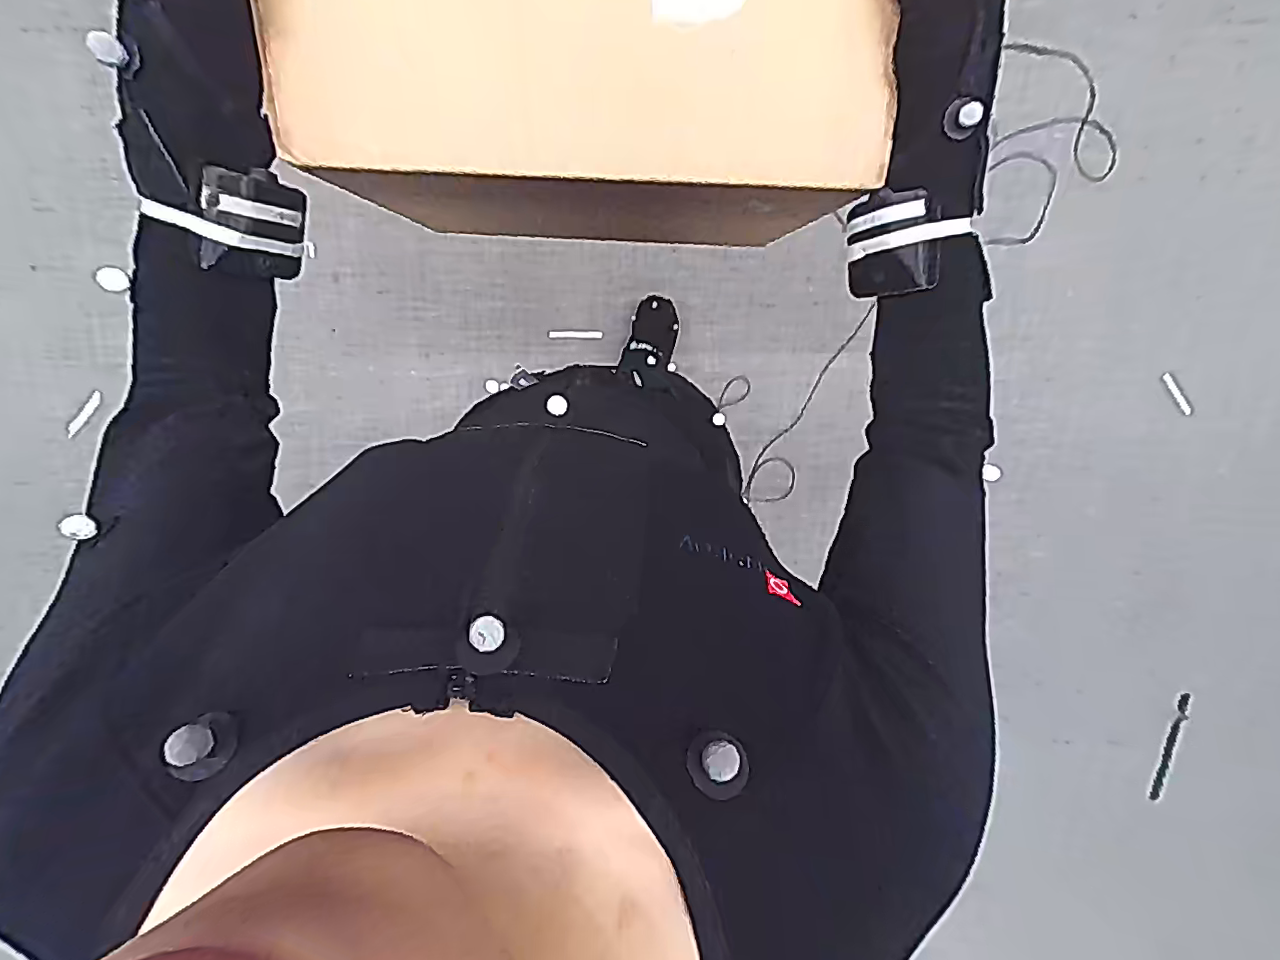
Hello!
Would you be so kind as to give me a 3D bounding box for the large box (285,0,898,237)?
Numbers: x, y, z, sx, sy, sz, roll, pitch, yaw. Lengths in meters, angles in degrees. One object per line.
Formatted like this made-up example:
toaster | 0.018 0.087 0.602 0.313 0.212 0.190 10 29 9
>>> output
large box | -0.034 -0.406 0.476 0.408 0.320 0.320 1 107 -3
